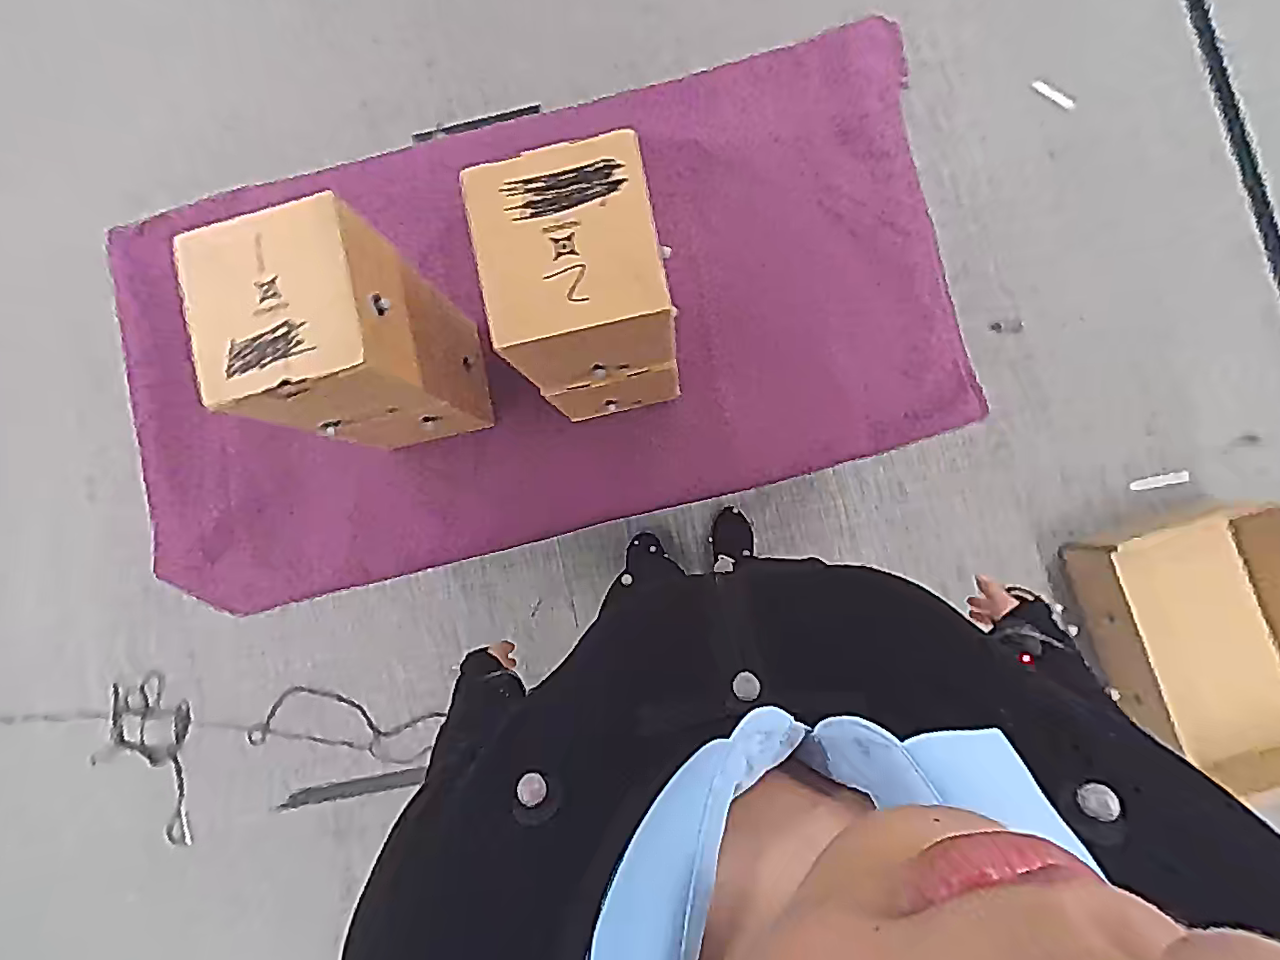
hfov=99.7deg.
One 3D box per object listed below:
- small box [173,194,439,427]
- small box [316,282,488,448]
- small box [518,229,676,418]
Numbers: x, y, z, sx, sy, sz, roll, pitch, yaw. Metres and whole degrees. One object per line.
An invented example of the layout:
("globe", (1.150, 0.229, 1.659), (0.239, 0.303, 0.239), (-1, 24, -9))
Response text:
("small box", (-0.341, -0.162, 0.585), (0.168, 0.176, 0.179), (-14, 85, 4))
("small box", (-0.325, -0.146, 0.748), (0.179, 0.176, 0.168), (-13, 86, 4))
("small box", (-0.048, -0.196, 0.727), (0.168, 0.176, 0.179), (-13, 86, 4))
